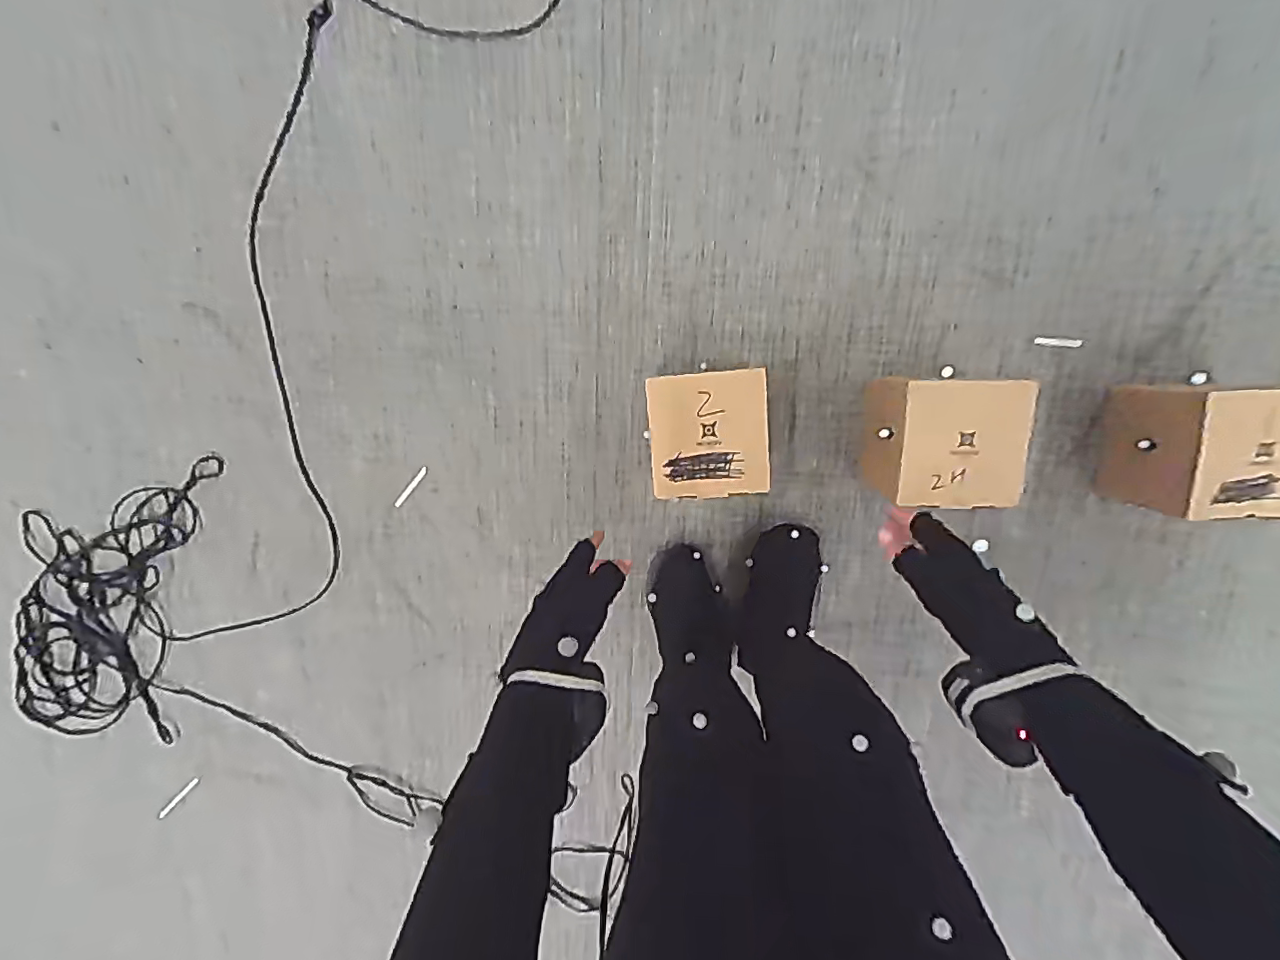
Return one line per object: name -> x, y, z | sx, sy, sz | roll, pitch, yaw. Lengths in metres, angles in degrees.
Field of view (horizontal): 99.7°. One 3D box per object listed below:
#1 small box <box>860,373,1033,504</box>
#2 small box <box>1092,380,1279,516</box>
small box -> 0.444, -0.071, 0.814 | 0.168, 0.176, 0.179 | 1, 103, 4
small box -> 0.819, -0.054, 0.797 | 0.168, 0.176, 0.179 | -1, 102, 4
